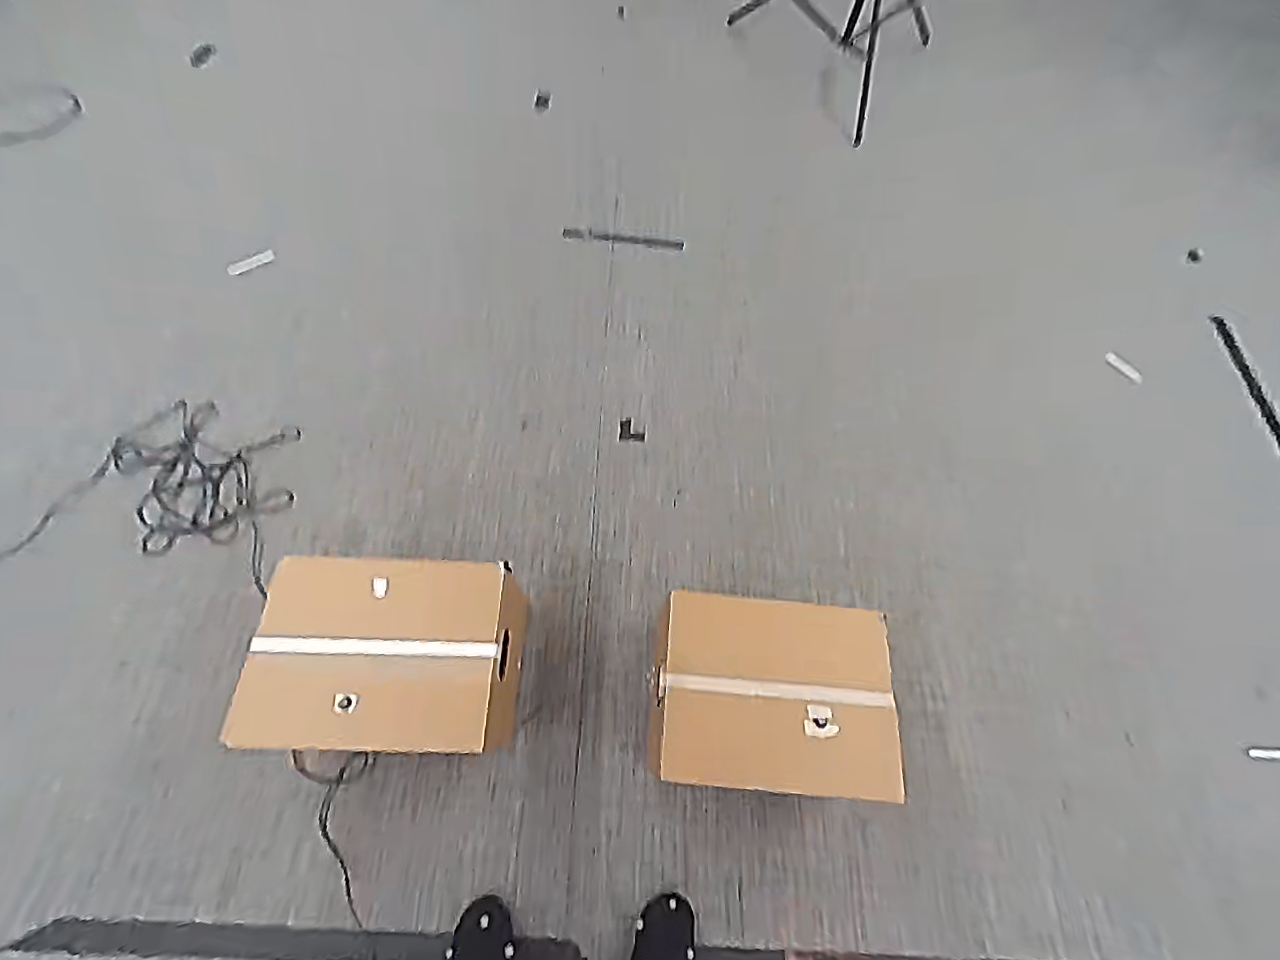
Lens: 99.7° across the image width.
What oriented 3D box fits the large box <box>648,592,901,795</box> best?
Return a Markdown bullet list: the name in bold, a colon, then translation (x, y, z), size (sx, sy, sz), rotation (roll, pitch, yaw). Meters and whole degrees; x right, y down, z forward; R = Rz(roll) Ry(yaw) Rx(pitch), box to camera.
- **large box**: translation (0.234, 0.431, 1.085), size (0.408, 0.320, 0.320), rotation (6, 65, -2)
